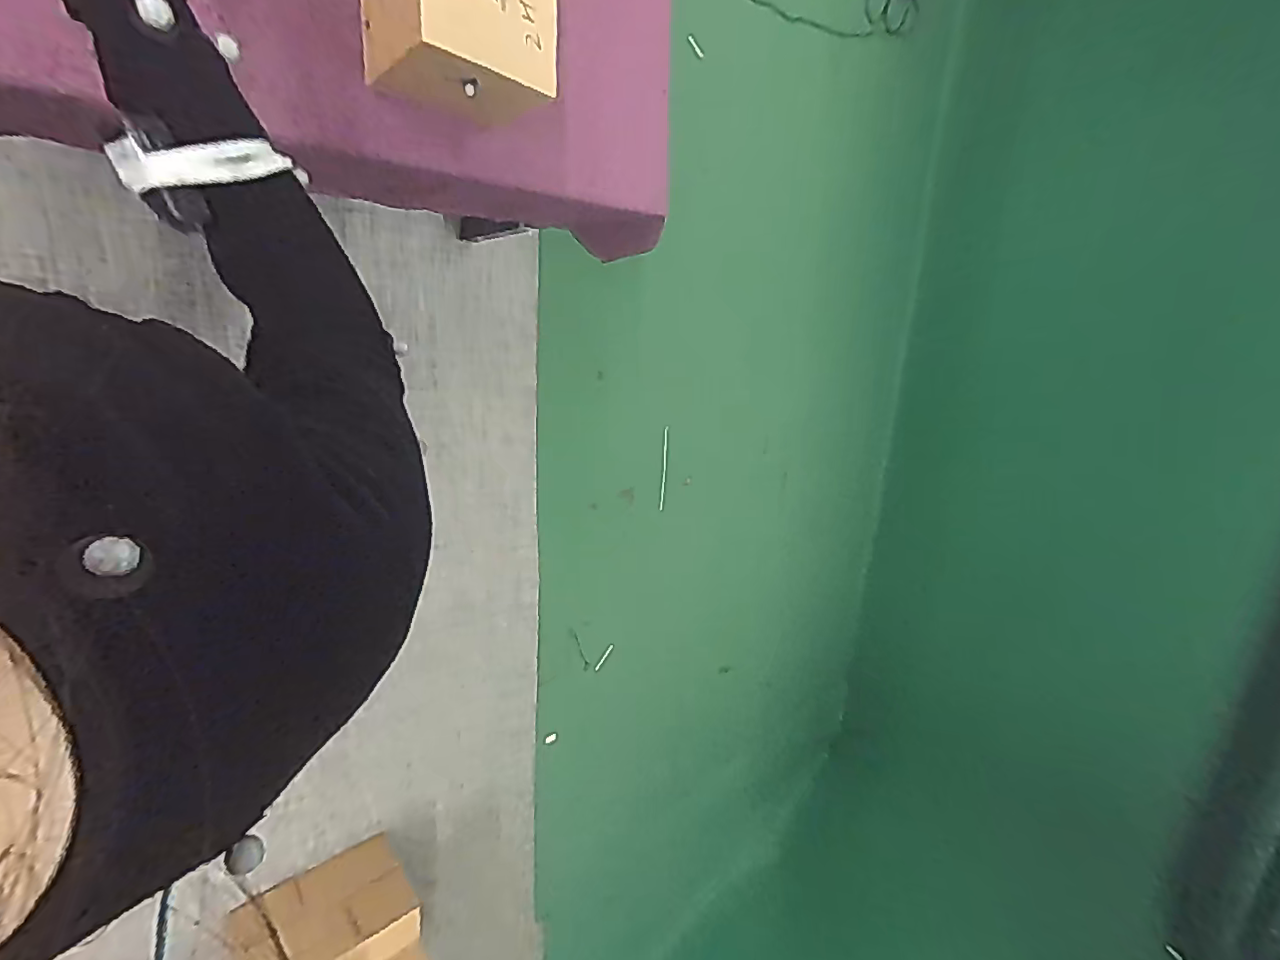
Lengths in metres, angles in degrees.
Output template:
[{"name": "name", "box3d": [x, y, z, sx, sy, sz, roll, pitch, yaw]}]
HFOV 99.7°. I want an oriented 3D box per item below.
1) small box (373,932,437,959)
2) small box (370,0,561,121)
[{"name": "small box", "box3d": [-0.636, 1.392, 1.457, 0.168, 0.176, 0.179, -3, 107, -46]}, {"name": "small box", "box3d": [-0.215, -0.567, 0.655, 0.179, 0.176, 0.168, -10, 110, -44]}]
